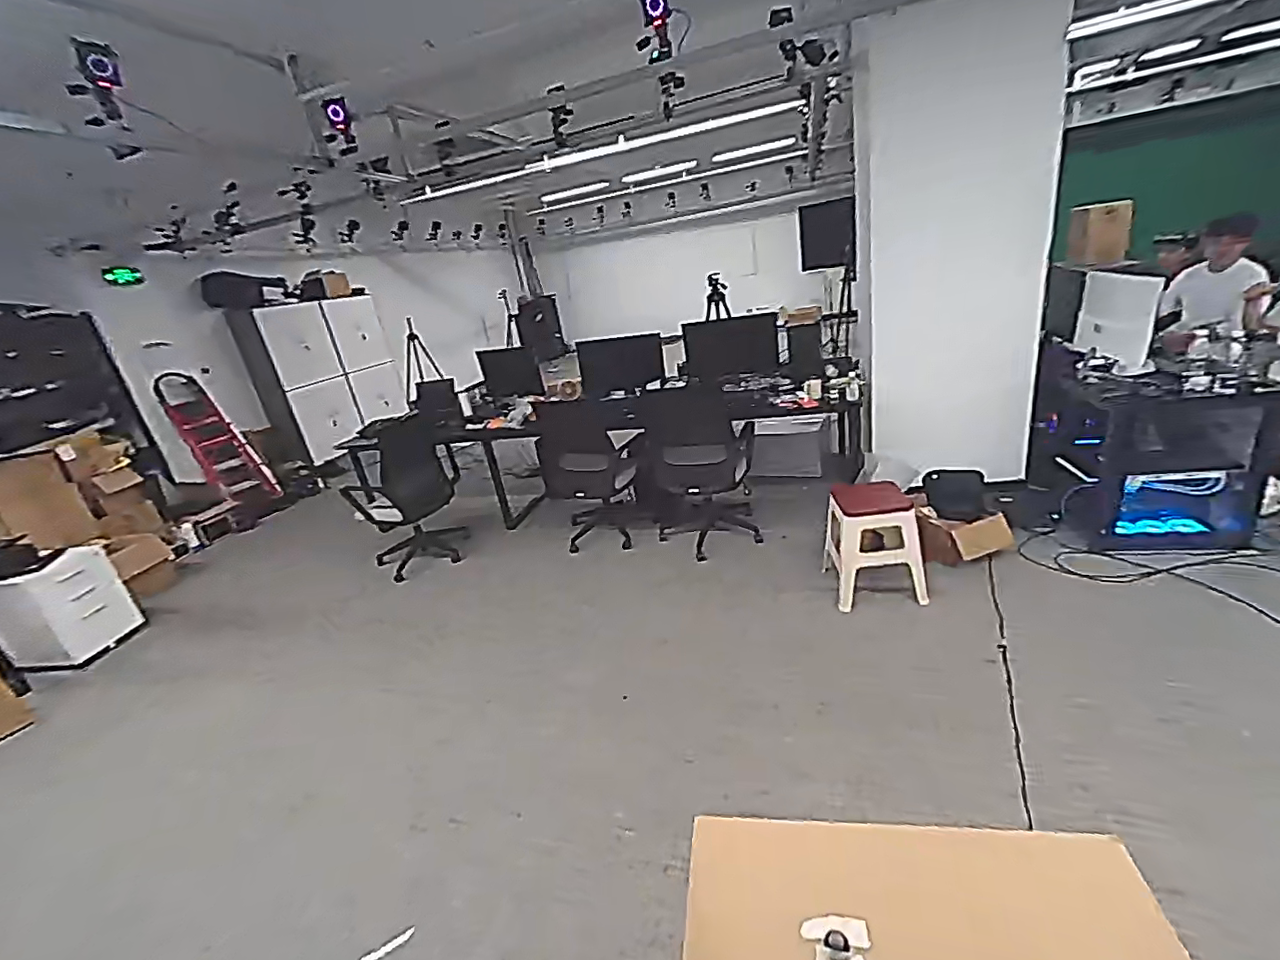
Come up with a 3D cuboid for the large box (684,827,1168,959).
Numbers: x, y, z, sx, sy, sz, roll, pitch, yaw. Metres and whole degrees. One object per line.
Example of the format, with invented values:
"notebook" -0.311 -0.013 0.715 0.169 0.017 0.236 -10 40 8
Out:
"large box" 0.260 0.568 0.497 0.408 0.320 0.320 -7 25 13
